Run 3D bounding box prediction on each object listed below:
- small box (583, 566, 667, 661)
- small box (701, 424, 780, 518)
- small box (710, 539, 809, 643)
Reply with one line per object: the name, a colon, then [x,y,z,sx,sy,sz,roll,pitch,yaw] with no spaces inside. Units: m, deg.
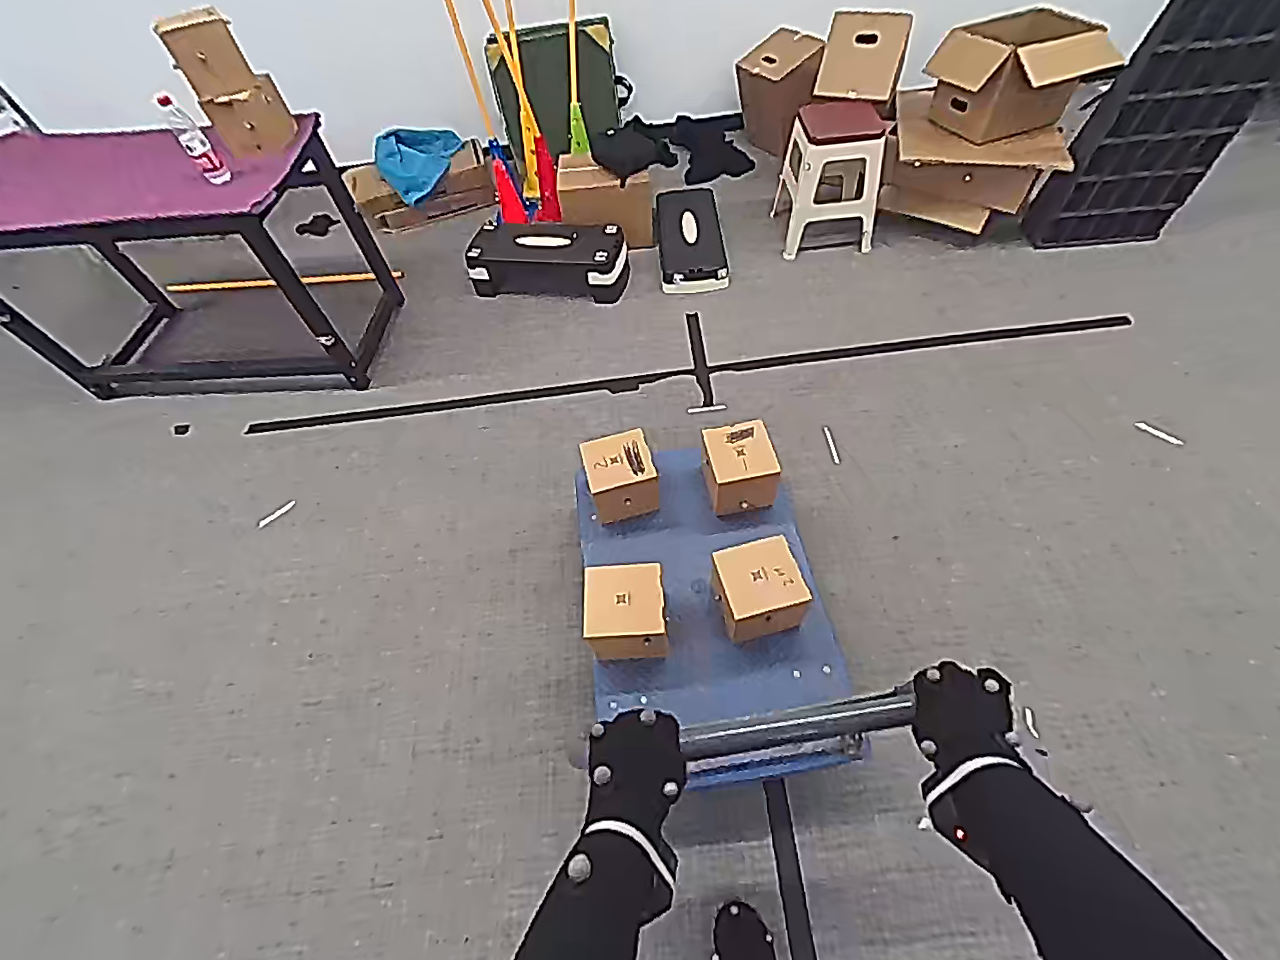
small box: [-0.032,0.316,1.258,0.179,0.176,0.168,-4,55,1]
small box: [0.262,-0.022,1.455,0.168,0.176,0.179,-11,57,-1]
small box: [0.270,0.264,1.261,0.179,0.176,0.168,-14,56,-3]
